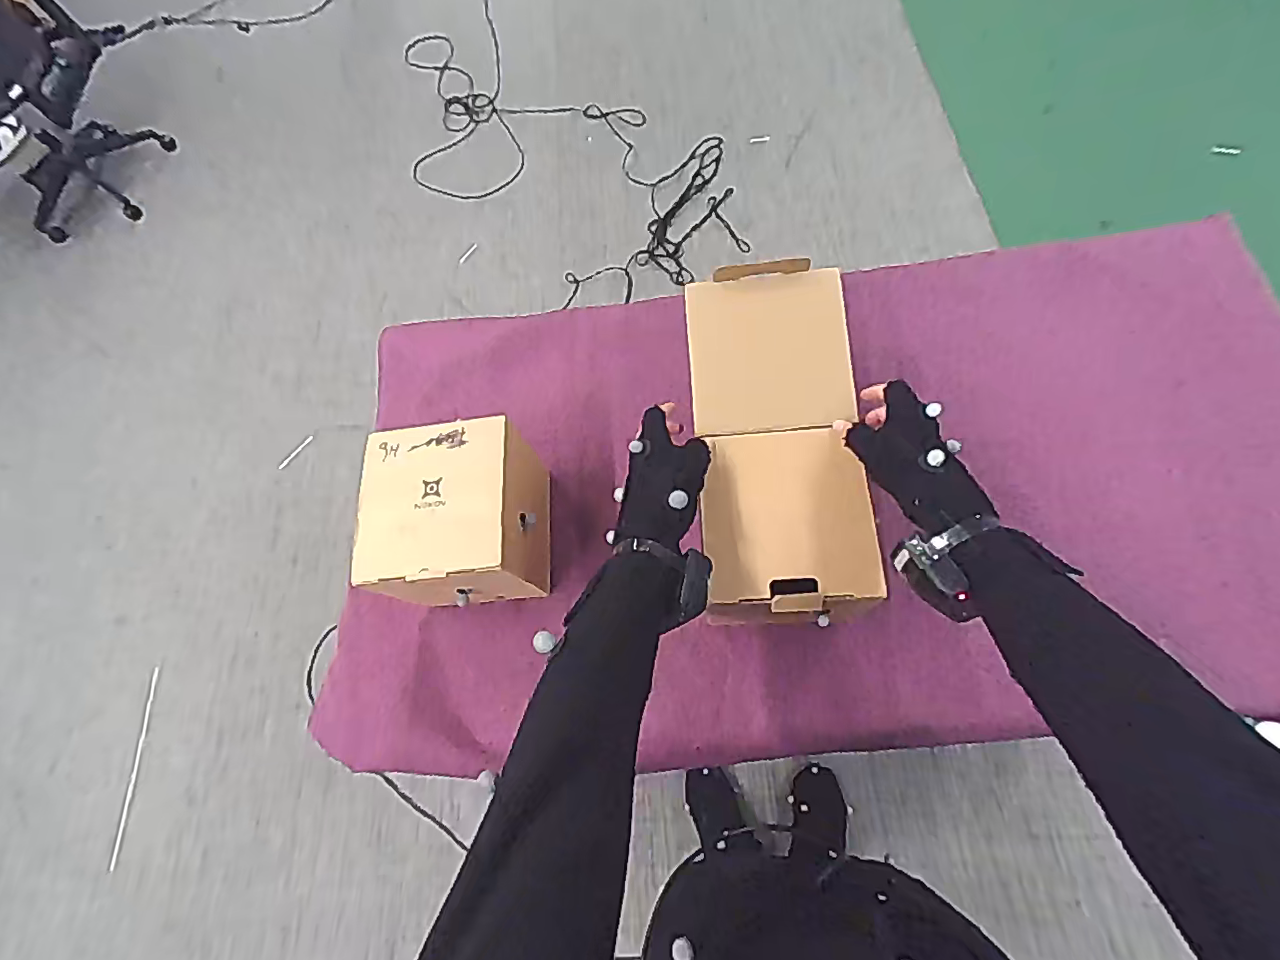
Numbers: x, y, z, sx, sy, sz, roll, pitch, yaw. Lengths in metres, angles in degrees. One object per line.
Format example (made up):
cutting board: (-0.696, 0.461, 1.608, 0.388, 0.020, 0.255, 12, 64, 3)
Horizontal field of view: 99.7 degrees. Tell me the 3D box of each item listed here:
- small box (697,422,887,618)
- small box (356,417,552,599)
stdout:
small box: (0.152, 0.056, 0.592, 0.168, 0.176, 0.179, -4, 68, 7)
small box: (-0.208, 0.046, 0.653, 0.168, 0.176, 0.179, -7, 69, 6)
